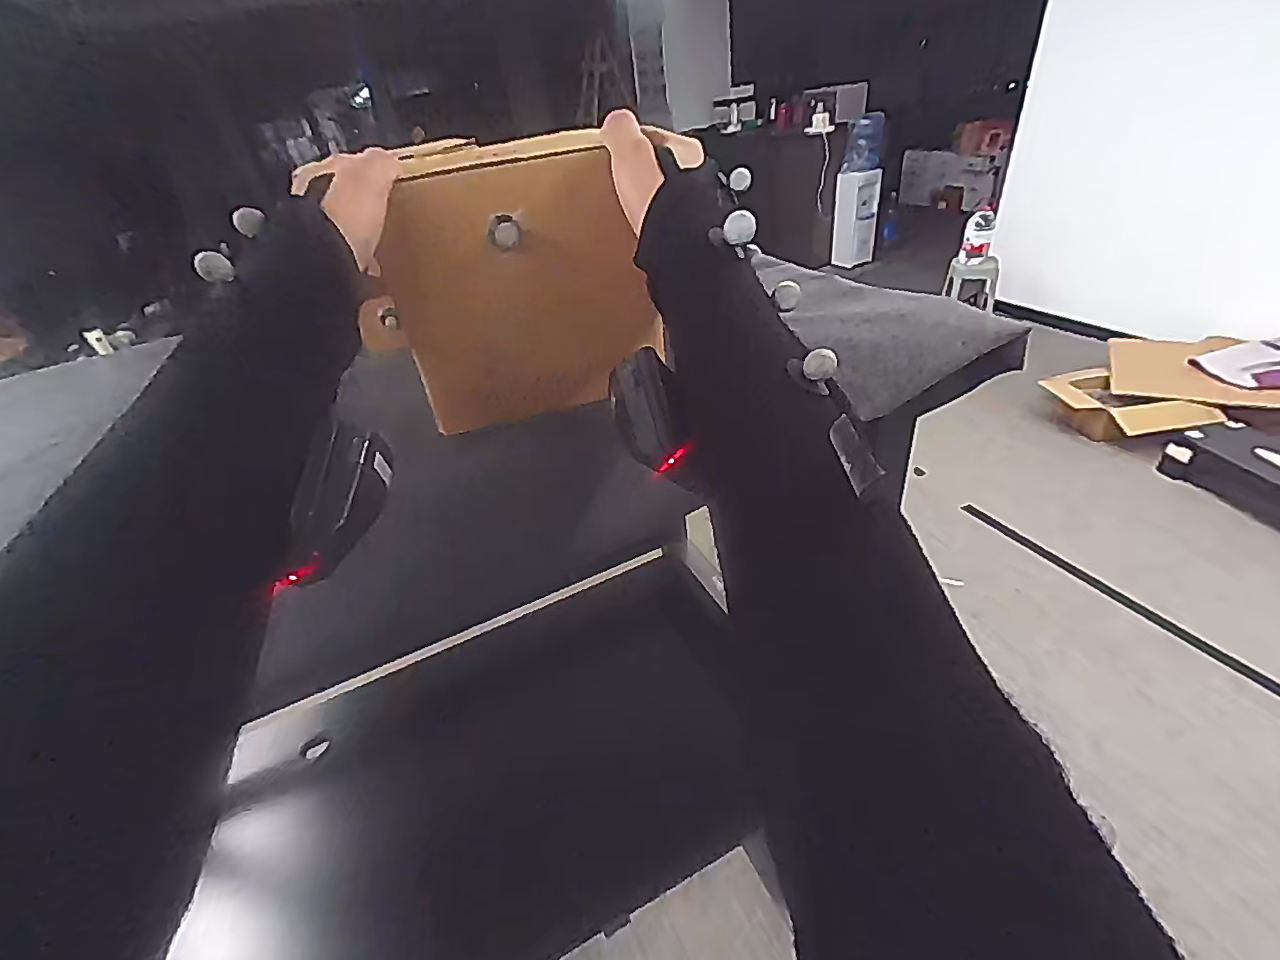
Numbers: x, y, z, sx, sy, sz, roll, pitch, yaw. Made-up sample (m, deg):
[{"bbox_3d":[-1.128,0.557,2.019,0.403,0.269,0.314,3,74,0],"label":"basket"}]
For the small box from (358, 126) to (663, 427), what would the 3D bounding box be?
[{"bbox_3d":[-0.086,-0.164,0.426,0.179,0.176,0.168,-15,36,-7],"label":"small box"}]

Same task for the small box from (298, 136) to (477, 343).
[{"bbox_3d":[-0.243,-0.266,0.599,0.168,0.176,0.179,-19,36,-13],"label":"small box"}]
